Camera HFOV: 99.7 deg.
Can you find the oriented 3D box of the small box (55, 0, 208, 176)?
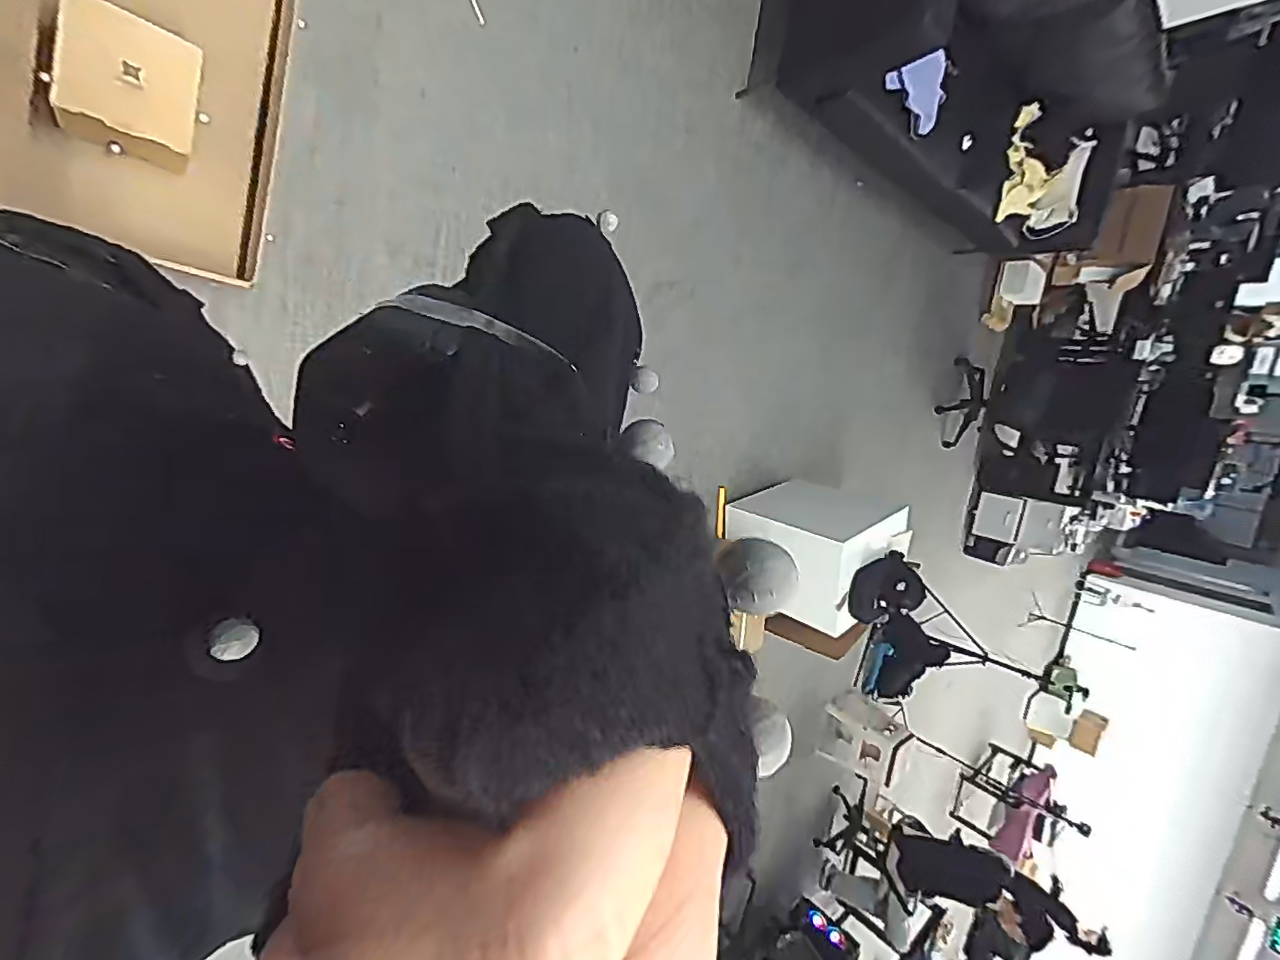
[{"bbox_3d":[-0.853,-0.651,0.913,0.168,0.176,0.179,7,97,-43],"label":"small box"}]
